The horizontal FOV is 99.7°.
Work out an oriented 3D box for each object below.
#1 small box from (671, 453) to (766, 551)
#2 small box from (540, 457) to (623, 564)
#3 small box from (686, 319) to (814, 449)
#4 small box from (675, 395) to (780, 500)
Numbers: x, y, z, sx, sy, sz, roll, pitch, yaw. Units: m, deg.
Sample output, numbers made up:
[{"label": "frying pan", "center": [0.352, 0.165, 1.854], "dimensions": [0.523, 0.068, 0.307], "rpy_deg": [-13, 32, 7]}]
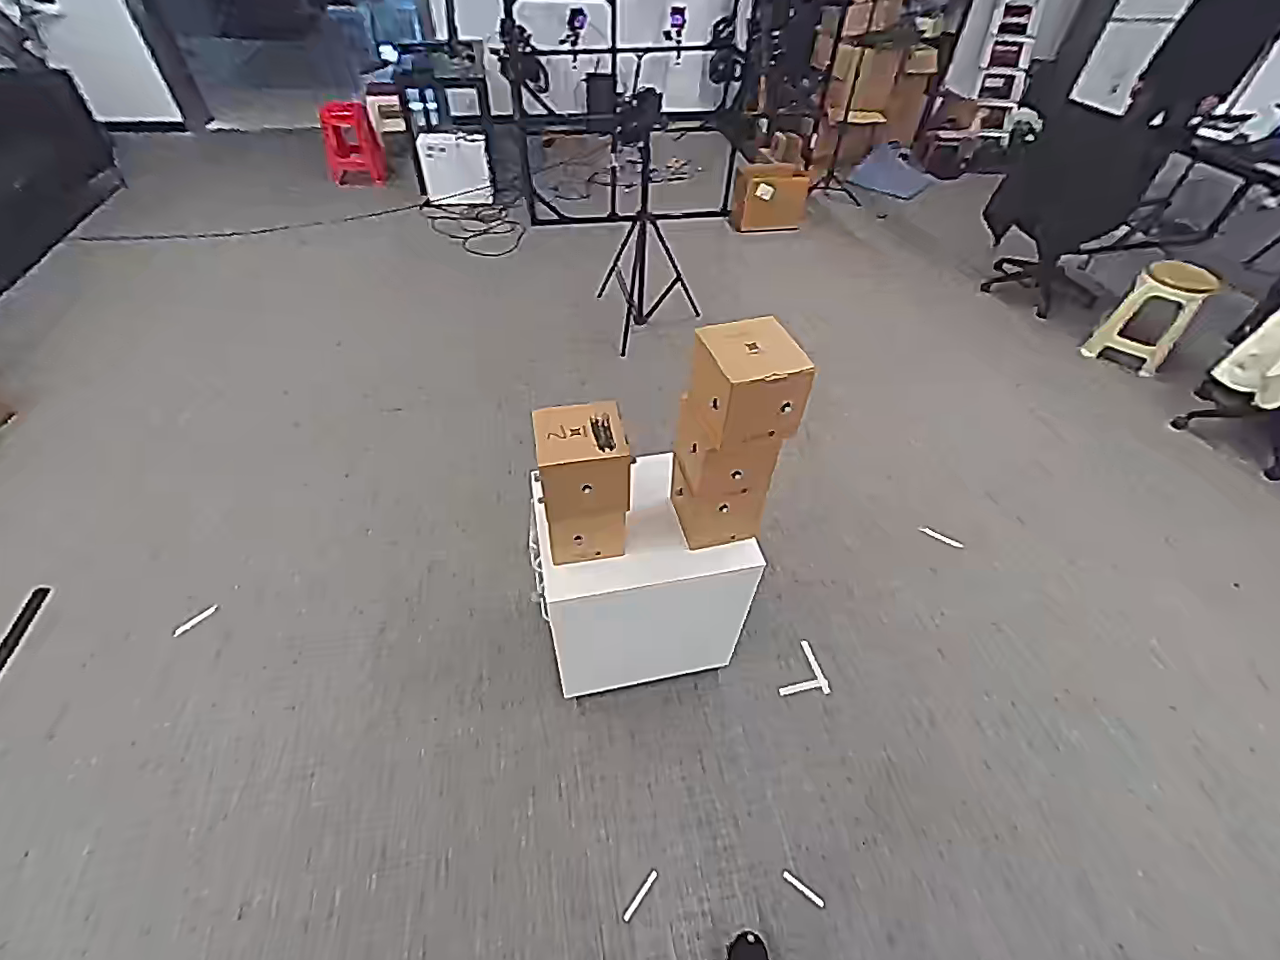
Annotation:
[{"label": "small box", "center": [0.173, 0.040, 1.270], "dimensions": [0.168, 0.176, 0.179], "rpy_deg": [-11, 48, -10]}, {"label": "small box", "center": [-0.130, 0.075, 1.228], "dimensions": [0.168, 0.176, 0.179], "rpy_deg": [-7, 48, -10]}, {"label": "small box", "center": [0.197, -0.175, 1.022], "dimensions": [0.168, 0.176, 0.179], "rpy_deg": [-13, 49, -14]}, {"label": "small box", "center": [0.177, -0.072, 1.148], "dimensions": [0.168, 0.176, 0.179], "rpy_deg": [-9, 49, -10]}]
